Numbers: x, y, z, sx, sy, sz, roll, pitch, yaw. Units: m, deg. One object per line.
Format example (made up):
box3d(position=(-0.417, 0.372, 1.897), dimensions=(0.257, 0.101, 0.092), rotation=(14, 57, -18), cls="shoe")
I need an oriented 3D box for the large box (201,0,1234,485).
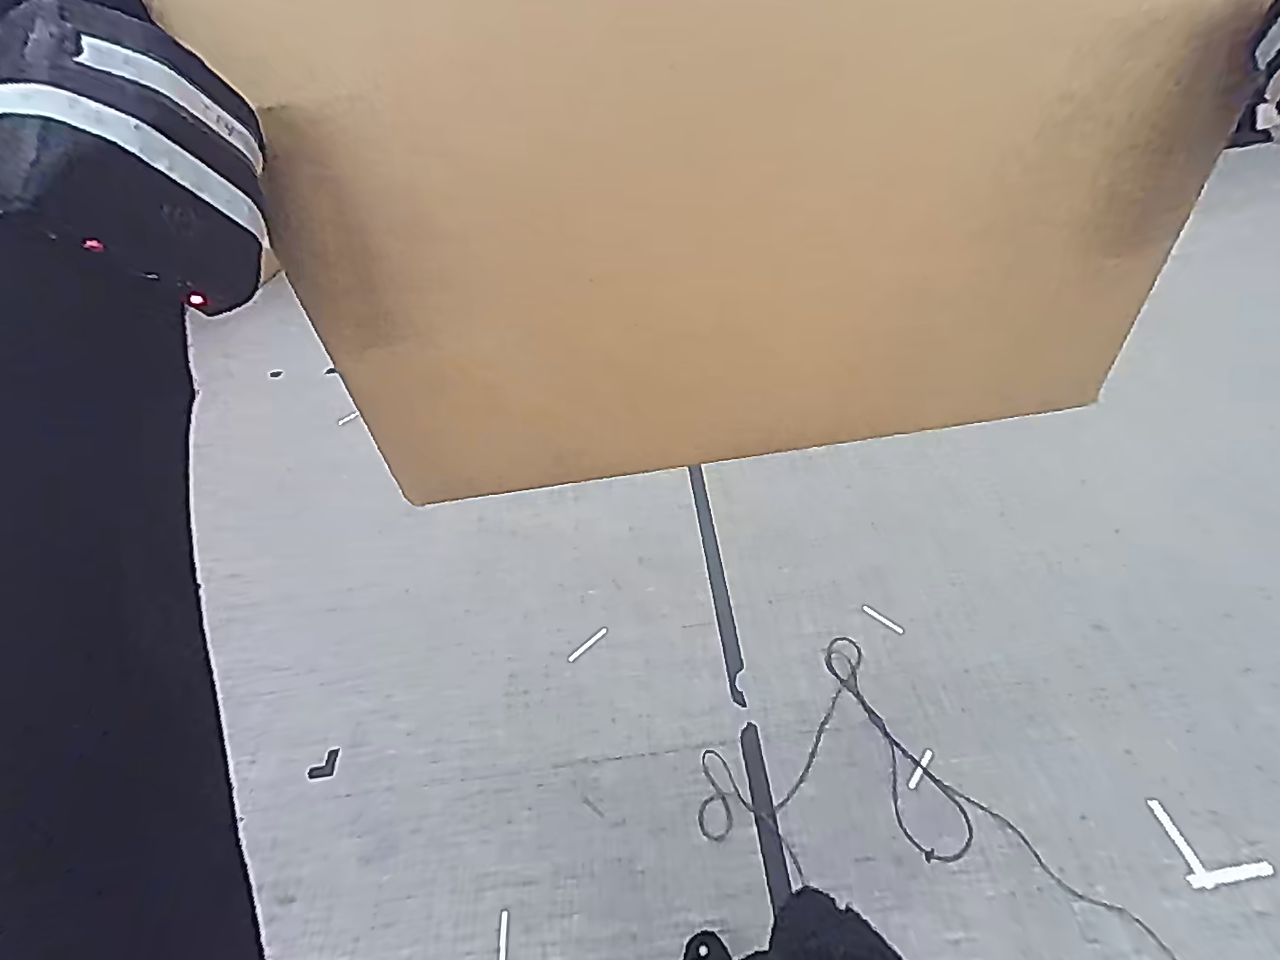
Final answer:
box3d(position=(0.032, -0.229, 0.347), dimensions=(0.408, 0.320, 0.320), rotation=(-8, 40, -1), cls="large box")
